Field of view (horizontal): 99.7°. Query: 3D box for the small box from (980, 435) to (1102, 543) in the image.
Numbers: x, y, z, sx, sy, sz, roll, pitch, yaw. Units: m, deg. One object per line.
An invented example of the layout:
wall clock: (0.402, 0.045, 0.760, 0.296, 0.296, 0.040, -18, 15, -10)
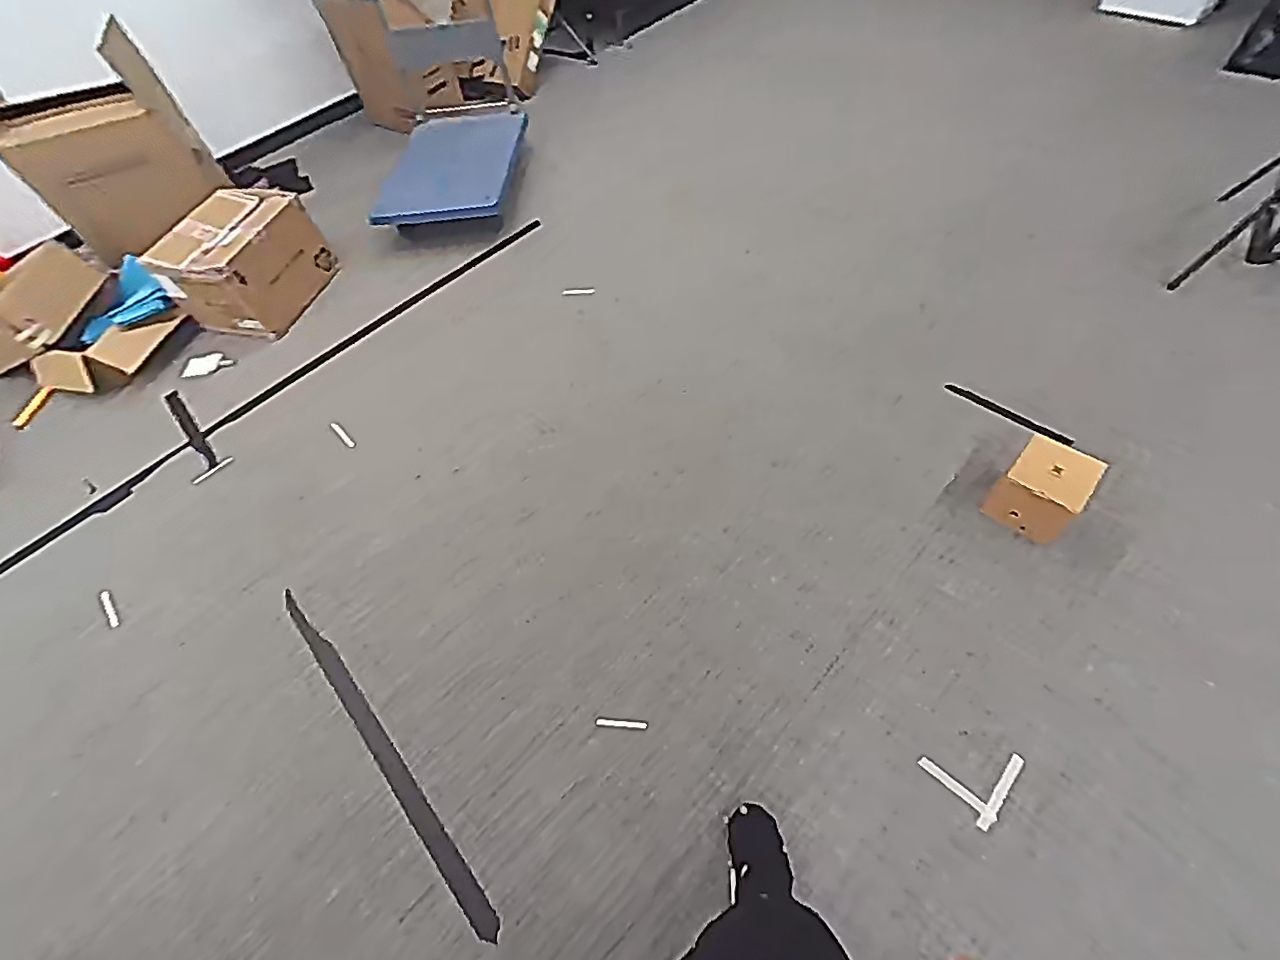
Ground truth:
small box: (1.007, 0.026, 1.372, 0.168, 0.176, 0.179, 35, 69, 26)
